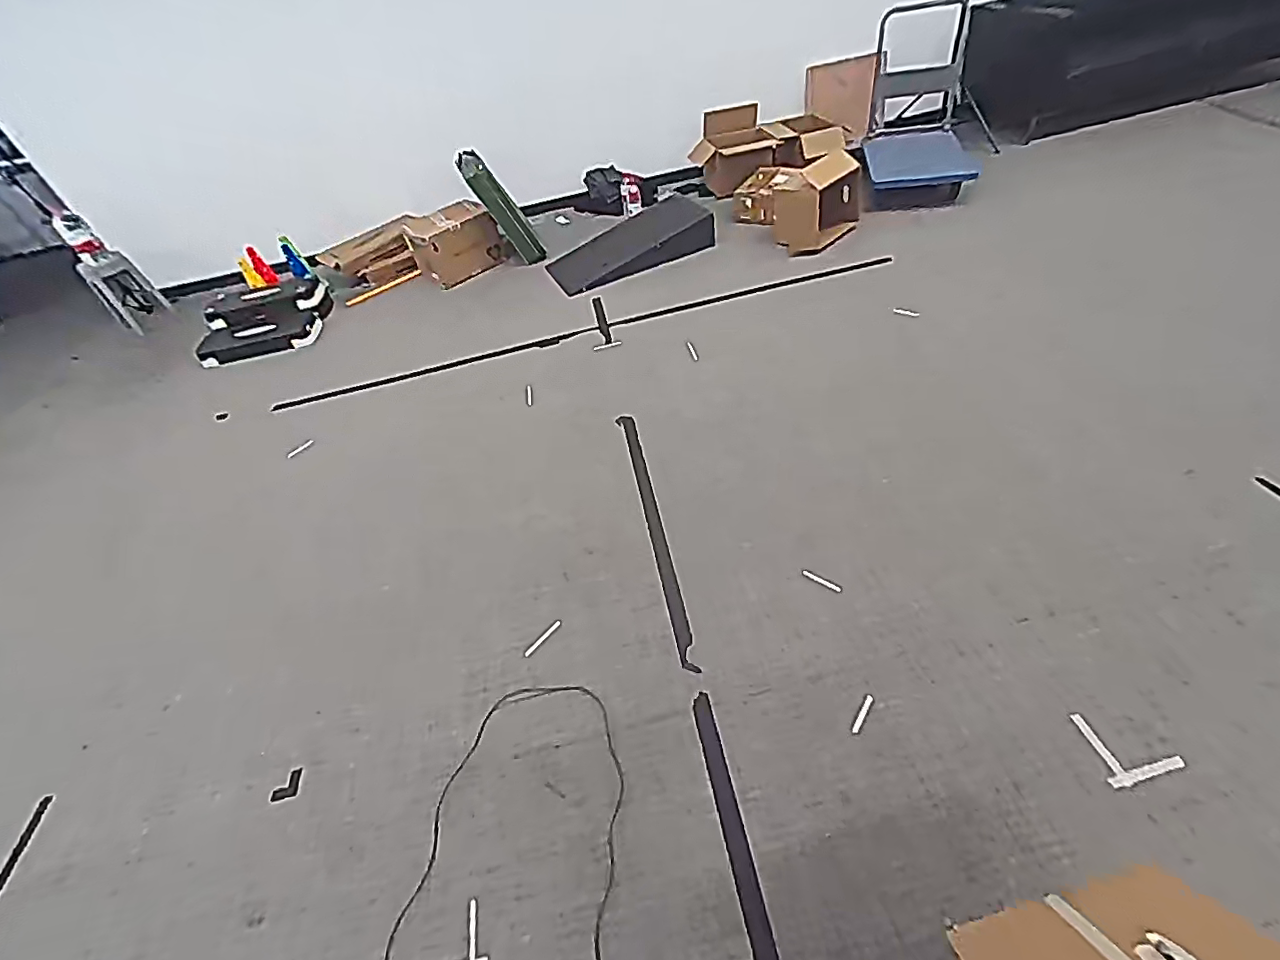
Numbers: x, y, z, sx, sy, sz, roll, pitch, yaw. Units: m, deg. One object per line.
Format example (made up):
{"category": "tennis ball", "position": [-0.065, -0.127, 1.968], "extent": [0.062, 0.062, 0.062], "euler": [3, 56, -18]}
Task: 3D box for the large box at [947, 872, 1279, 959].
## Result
{"category": "large box", "position": [0.615, 0.712, 0.545], "extent": [0.320, 0.408, 0.320], "euler": [-17, 81, 0]}
